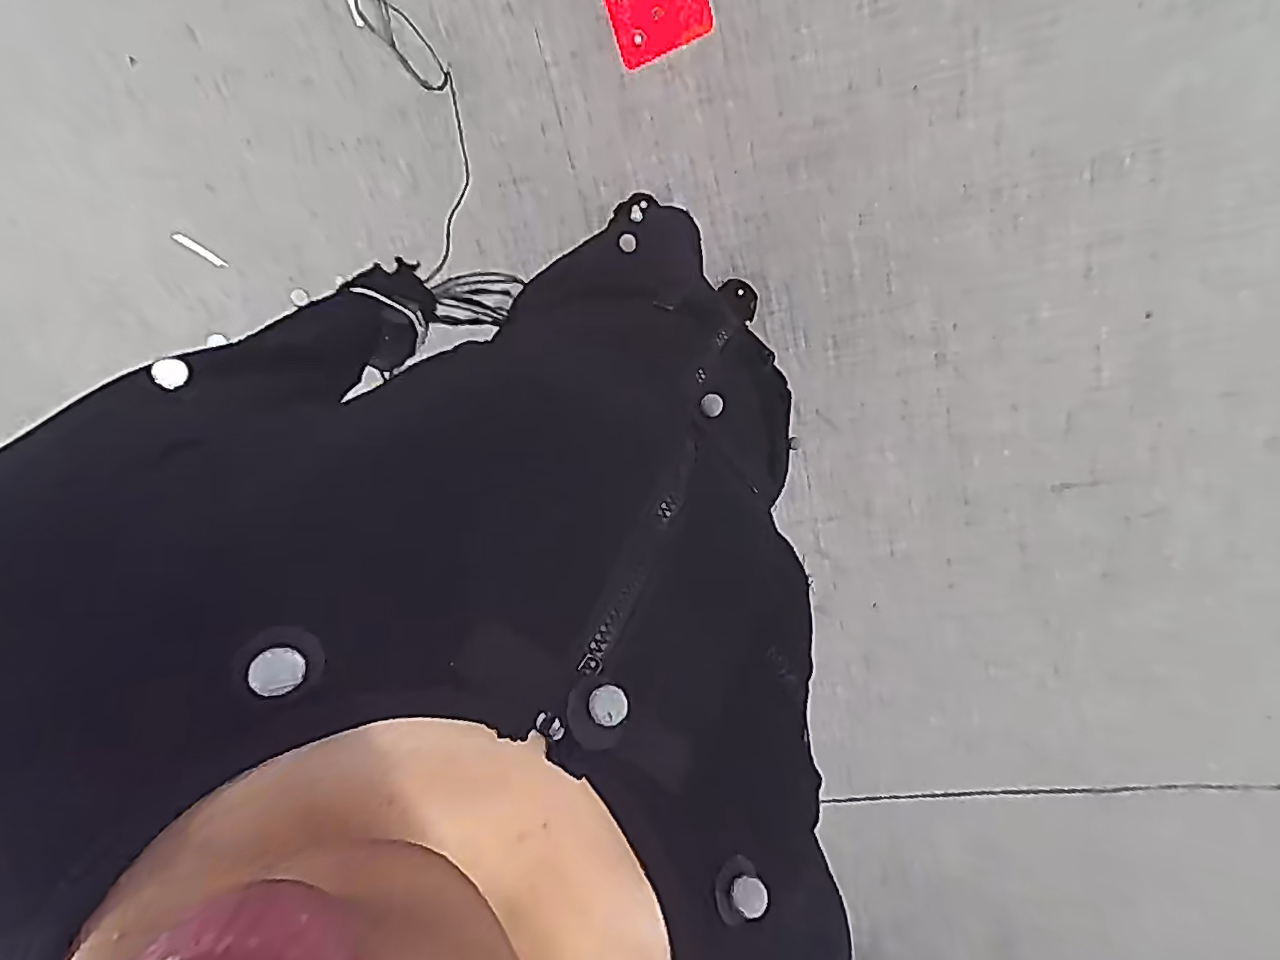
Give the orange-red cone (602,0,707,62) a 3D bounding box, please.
[{"bbox_3d":[-0.008,-0.906,0.919,0.199,0.360,0.198,-15,111,15],"label":"orange-red cone"}]
